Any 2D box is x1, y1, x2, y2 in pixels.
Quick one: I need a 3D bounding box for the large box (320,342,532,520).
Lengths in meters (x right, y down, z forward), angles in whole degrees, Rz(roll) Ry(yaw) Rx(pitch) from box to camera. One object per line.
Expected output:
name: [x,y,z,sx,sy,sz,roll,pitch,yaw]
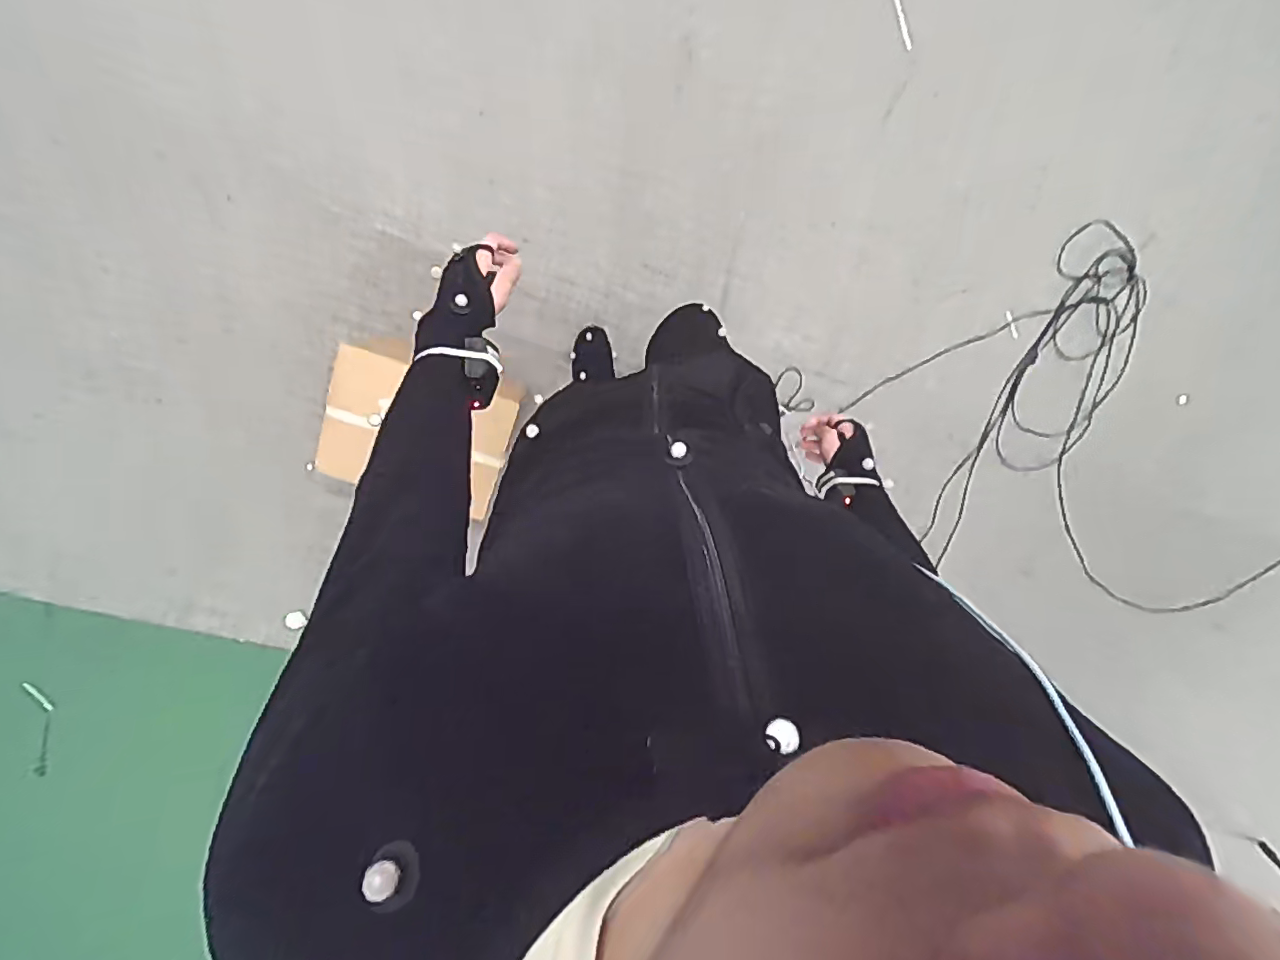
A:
large box: [-0.526,-0.138,1.401,0.408,0.320,0.320,18,104,-11]
